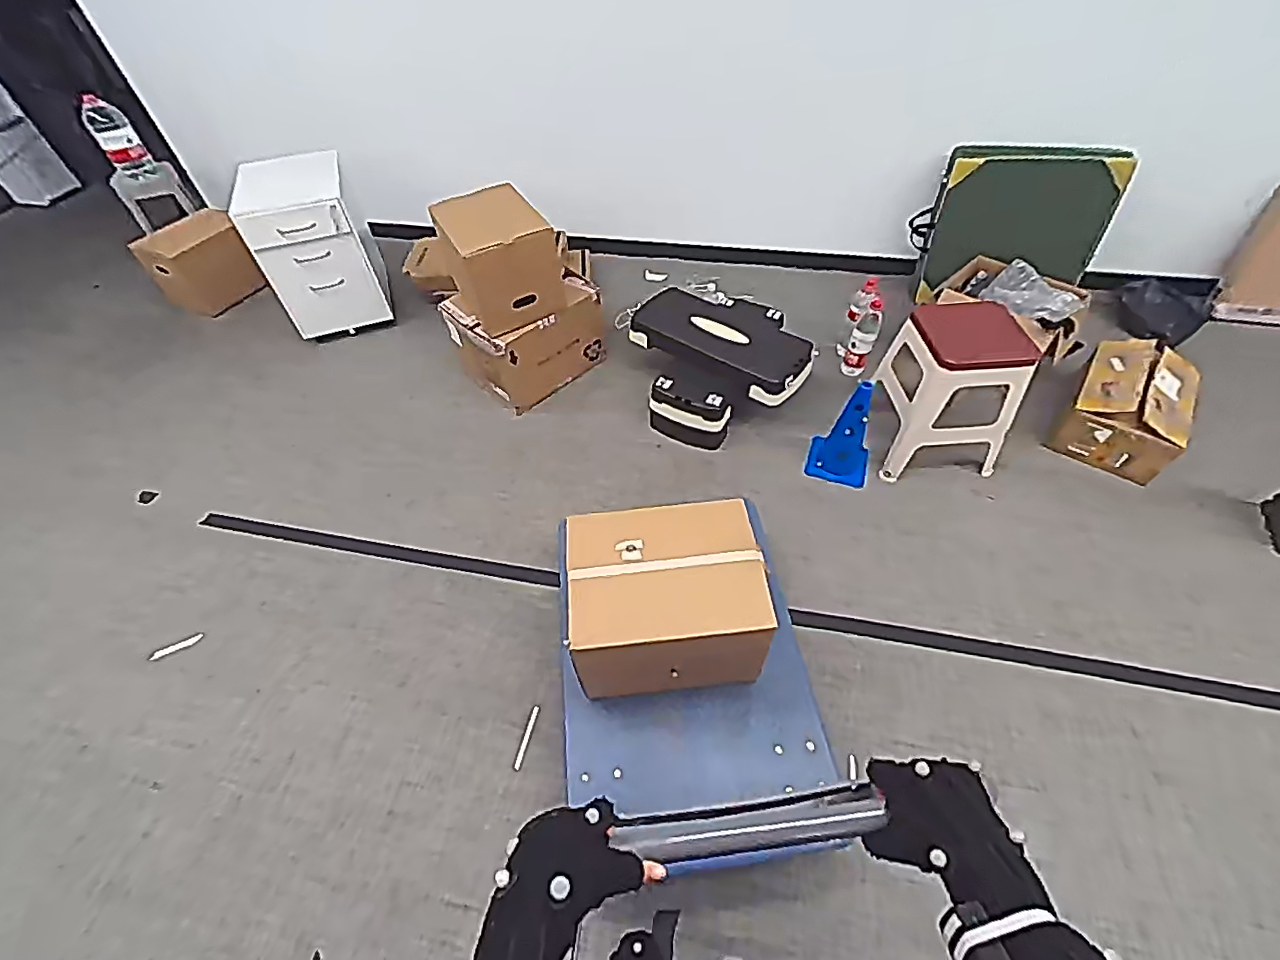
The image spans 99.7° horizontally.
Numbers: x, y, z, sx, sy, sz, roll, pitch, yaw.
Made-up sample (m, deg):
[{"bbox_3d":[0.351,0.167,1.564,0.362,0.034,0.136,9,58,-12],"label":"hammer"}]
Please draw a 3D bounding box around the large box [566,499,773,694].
[{"bbox_3d":[0.055,0.275,1.247,0.408,0.320,0.320,-6,52,-1],"label":"large box"}]
